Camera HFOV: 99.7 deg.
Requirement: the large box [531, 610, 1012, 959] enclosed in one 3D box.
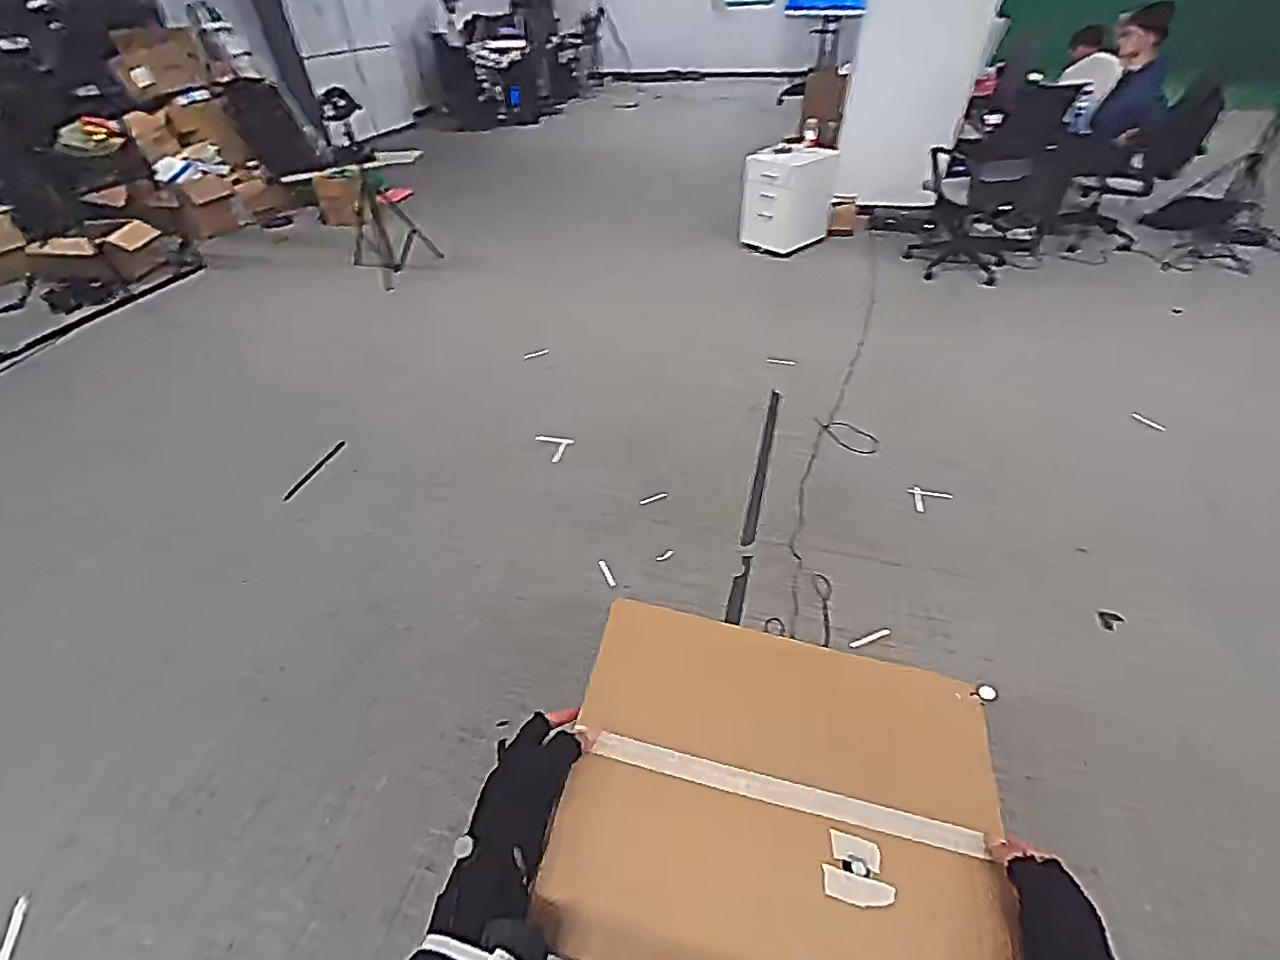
[{"bbox_3d":[0.123,0.397,0.629,0.408,0.320,0.320,12,50,6],"label":"large box"}]
